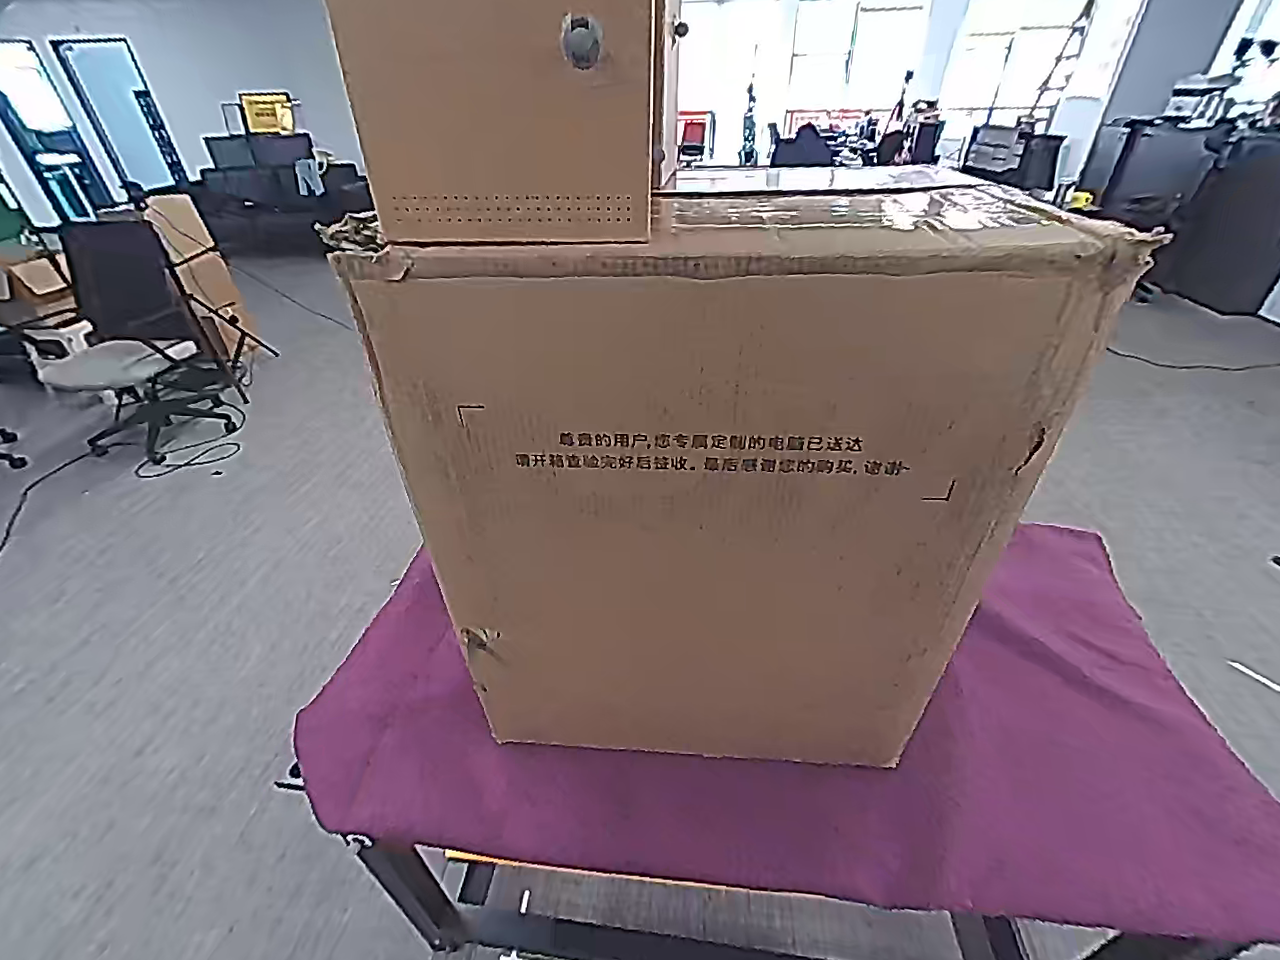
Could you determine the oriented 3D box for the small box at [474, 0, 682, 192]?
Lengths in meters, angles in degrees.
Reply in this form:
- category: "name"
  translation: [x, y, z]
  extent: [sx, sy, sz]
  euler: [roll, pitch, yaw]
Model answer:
- category: "small box"
  translation: [-0.047, -0.398, 0.550]
  extent: [0.168, 0.176, 0.179]
  euler: [5, 35, 6]
